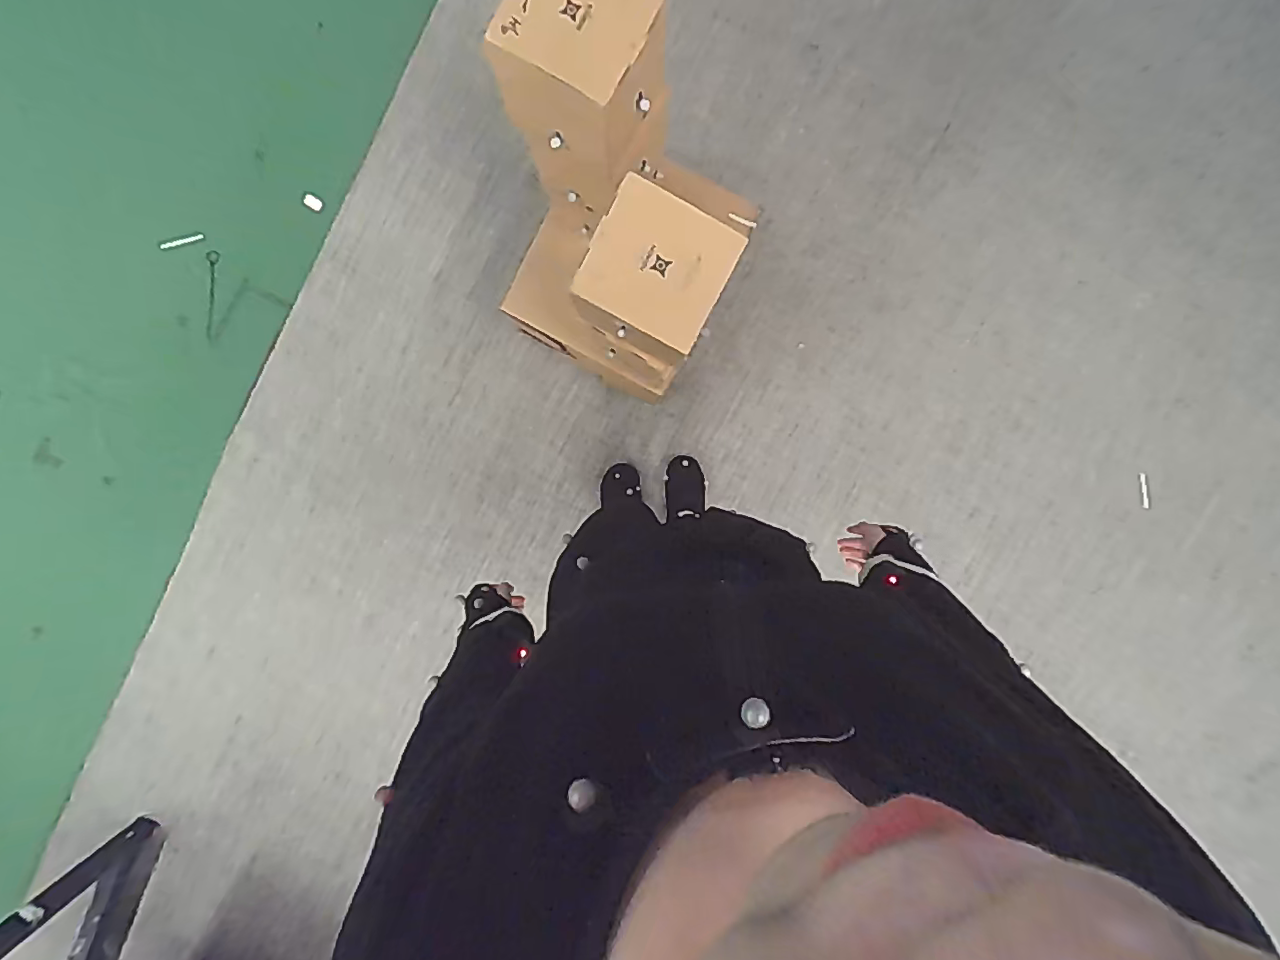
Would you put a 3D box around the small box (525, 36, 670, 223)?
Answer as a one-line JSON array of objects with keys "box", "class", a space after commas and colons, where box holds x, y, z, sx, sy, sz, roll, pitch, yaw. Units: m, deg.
[{"box": [-0.068, -0.568, 0.909, 0.168, 0.176, 0.179, 30, 91, -1], "class": "small box"}]

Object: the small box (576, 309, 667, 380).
[{"box": [0.008, -0.291, 0.923, 0.168, 0.176, 0.179, 32, 94, -3], "class": "small box"}]

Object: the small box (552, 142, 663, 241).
[{"box": [-0.070, -0.588, 1.073, 0.168, 0.176, 0.179, 28, 90, -1], "class": "small box"}]

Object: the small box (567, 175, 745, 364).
[{"box": [0.018, -0.277, 0.761, 0.179, 0.176, 0.168, 28, 94, -4], "class": "small box"}]
